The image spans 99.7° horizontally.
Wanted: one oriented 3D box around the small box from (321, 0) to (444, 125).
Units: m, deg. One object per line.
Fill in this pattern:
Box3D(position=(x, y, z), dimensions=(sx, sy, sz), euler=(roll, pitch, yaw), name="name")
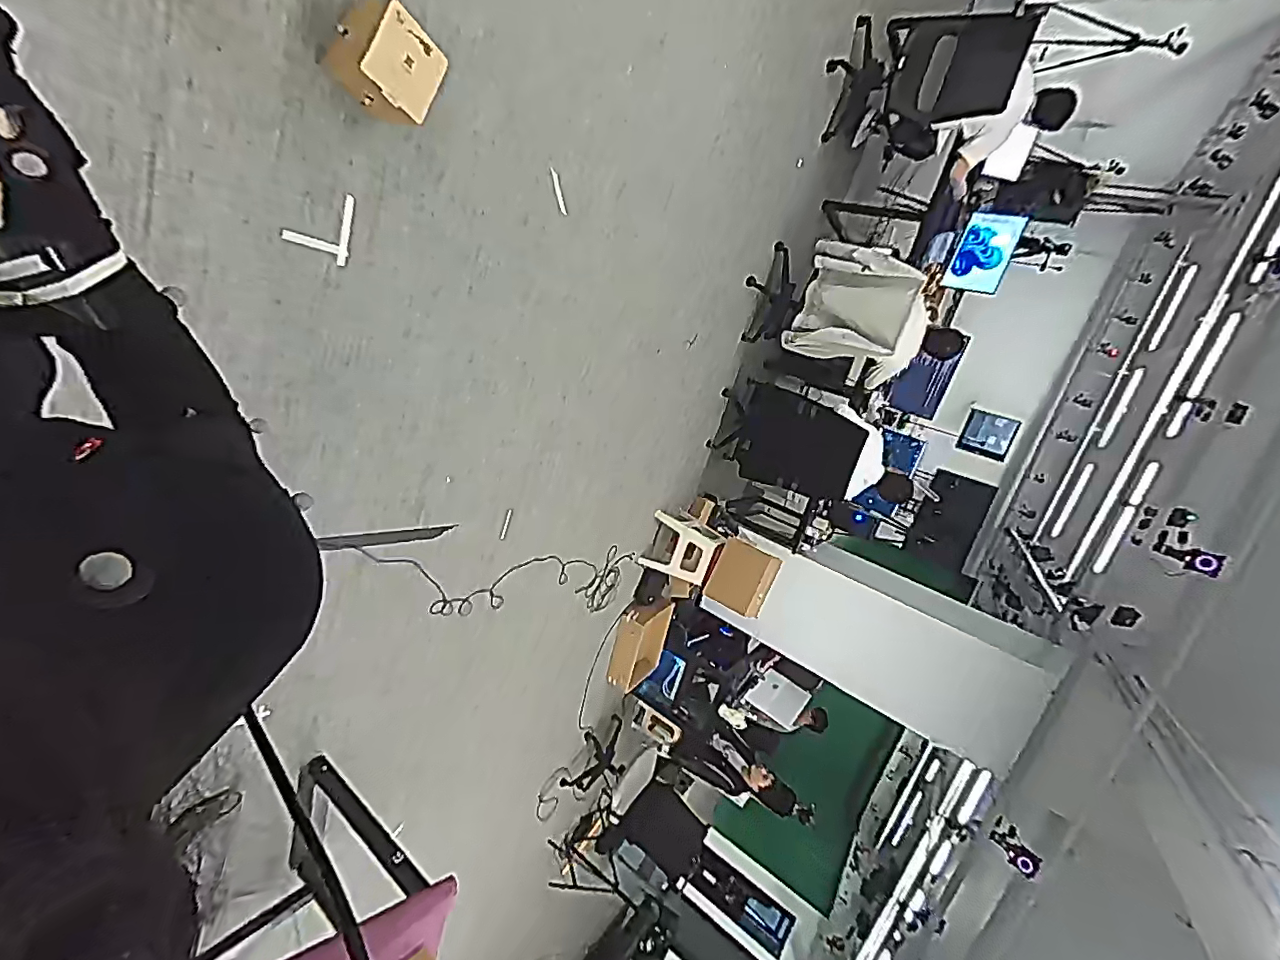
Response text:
Box3D(position=(-0.604, -0.971, 1.260), dimensions=(0.179, 0.176, 0.168), euler=(-64, 152, -1), name="small box")
